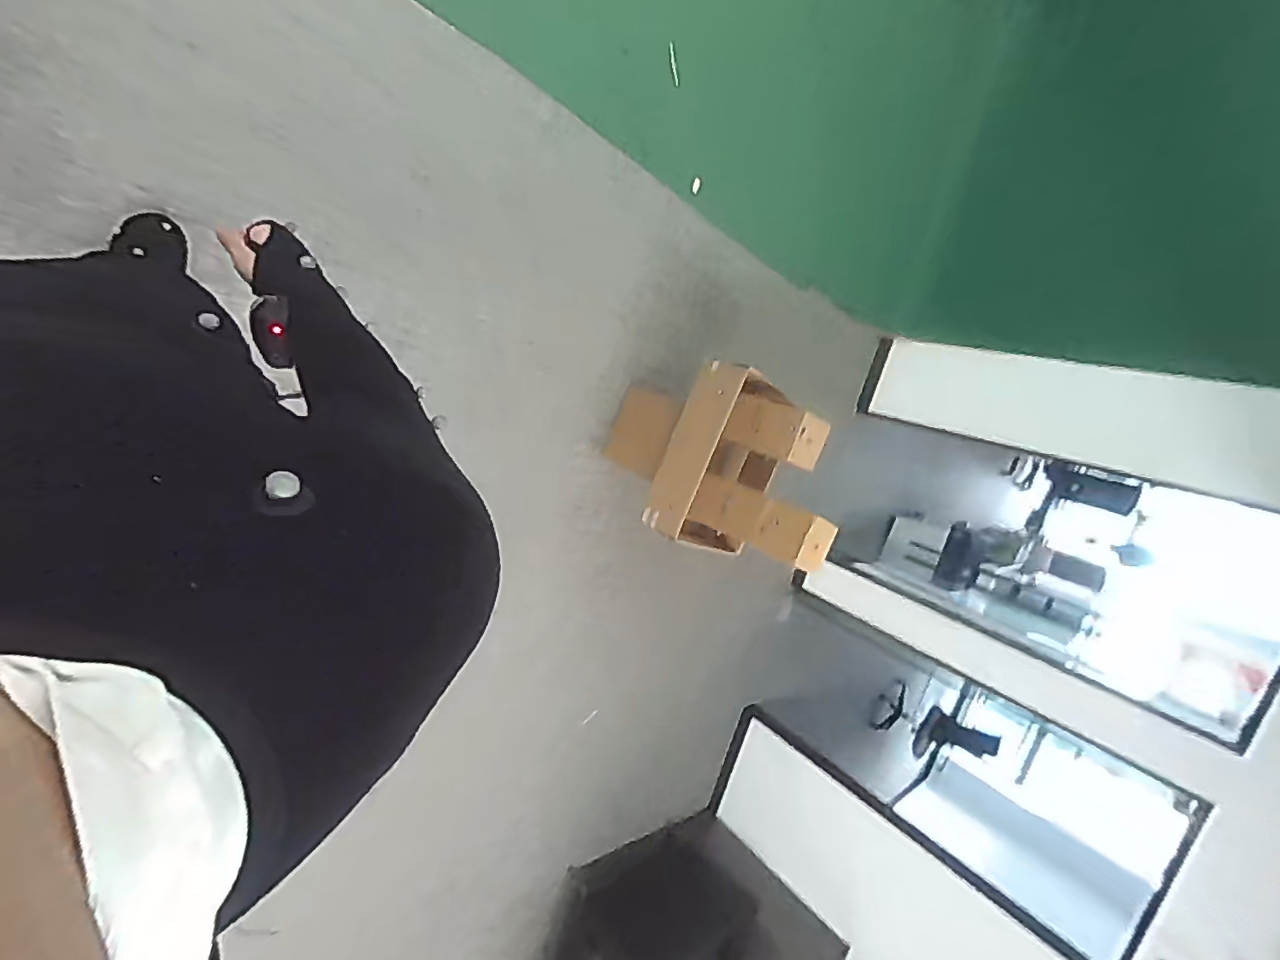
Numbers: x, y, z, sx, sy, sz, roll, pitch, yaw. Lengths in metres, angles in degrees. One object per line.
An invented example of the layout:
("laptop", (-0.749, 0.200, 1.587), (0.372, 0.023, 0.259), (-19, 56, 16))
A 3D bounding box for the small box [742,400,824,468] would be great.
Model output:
("small box", (0.472, -0.155, 1.787), (0.179, 0.176, 0.168), (15, 97, -47))

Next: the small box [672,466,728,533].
("small box", (0.247, 0.066, 1.914), (0.179, 0.176, 0.168), (25, 90, -46))

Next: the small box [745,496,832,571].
("small box", (0.463, 0.165, 1.692), (0.179, 0.176, 0.168), (24, 91, -46))

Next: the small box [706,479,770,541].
("small box", (0.356, 0.112, 1.801), (0.179, 0.176, 0.168), (24, 91, -47))
